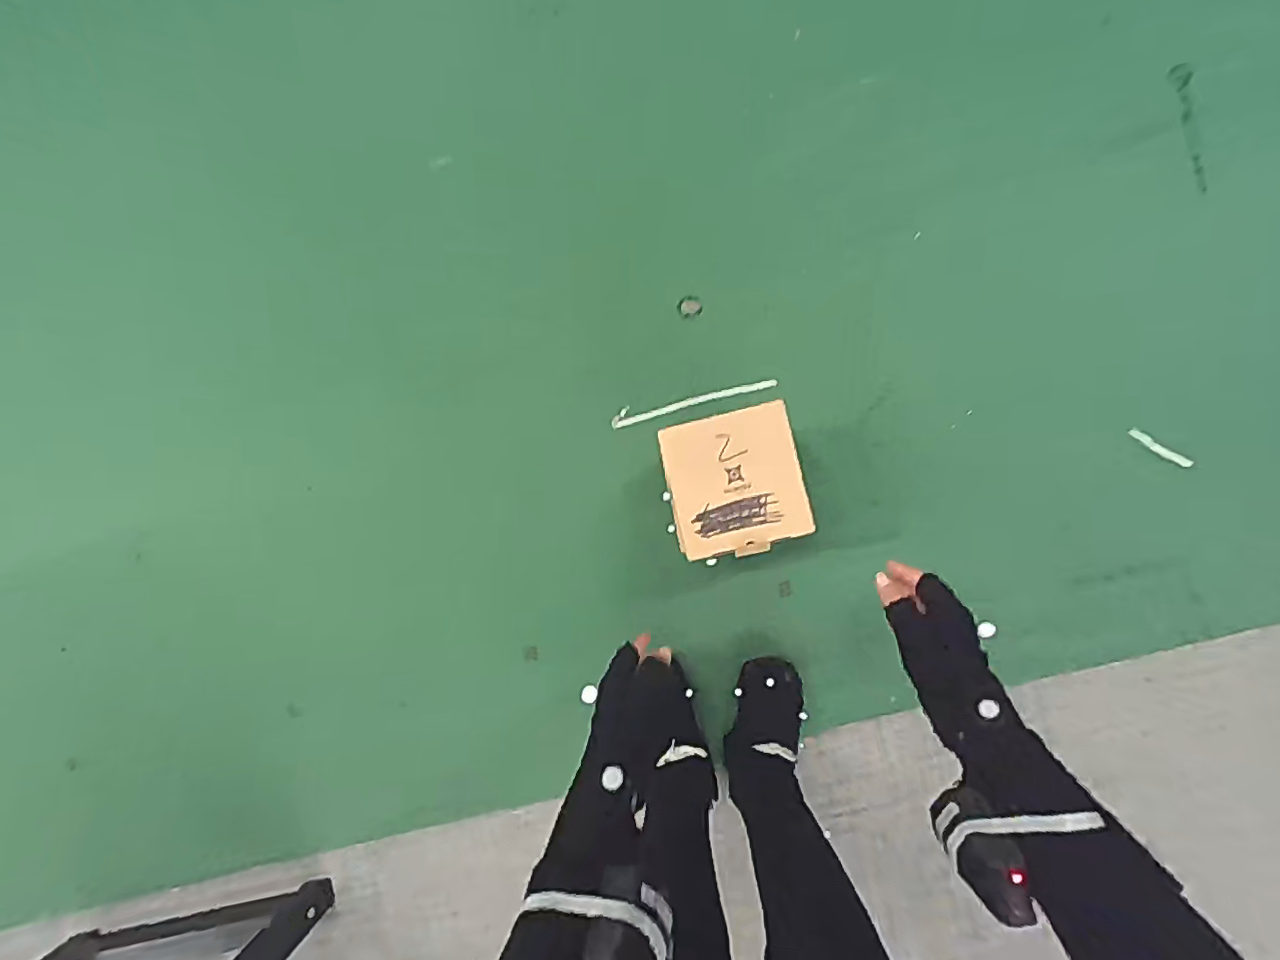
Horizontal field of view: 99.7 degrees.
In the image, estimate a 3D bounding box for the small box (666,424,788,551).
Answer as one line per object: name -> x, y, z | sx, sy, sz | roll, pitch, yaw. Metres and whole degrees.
small box -> 0.141, 0.014, 0.929 | 0.168, 0.176, 0.179 | -13, 89, 5
